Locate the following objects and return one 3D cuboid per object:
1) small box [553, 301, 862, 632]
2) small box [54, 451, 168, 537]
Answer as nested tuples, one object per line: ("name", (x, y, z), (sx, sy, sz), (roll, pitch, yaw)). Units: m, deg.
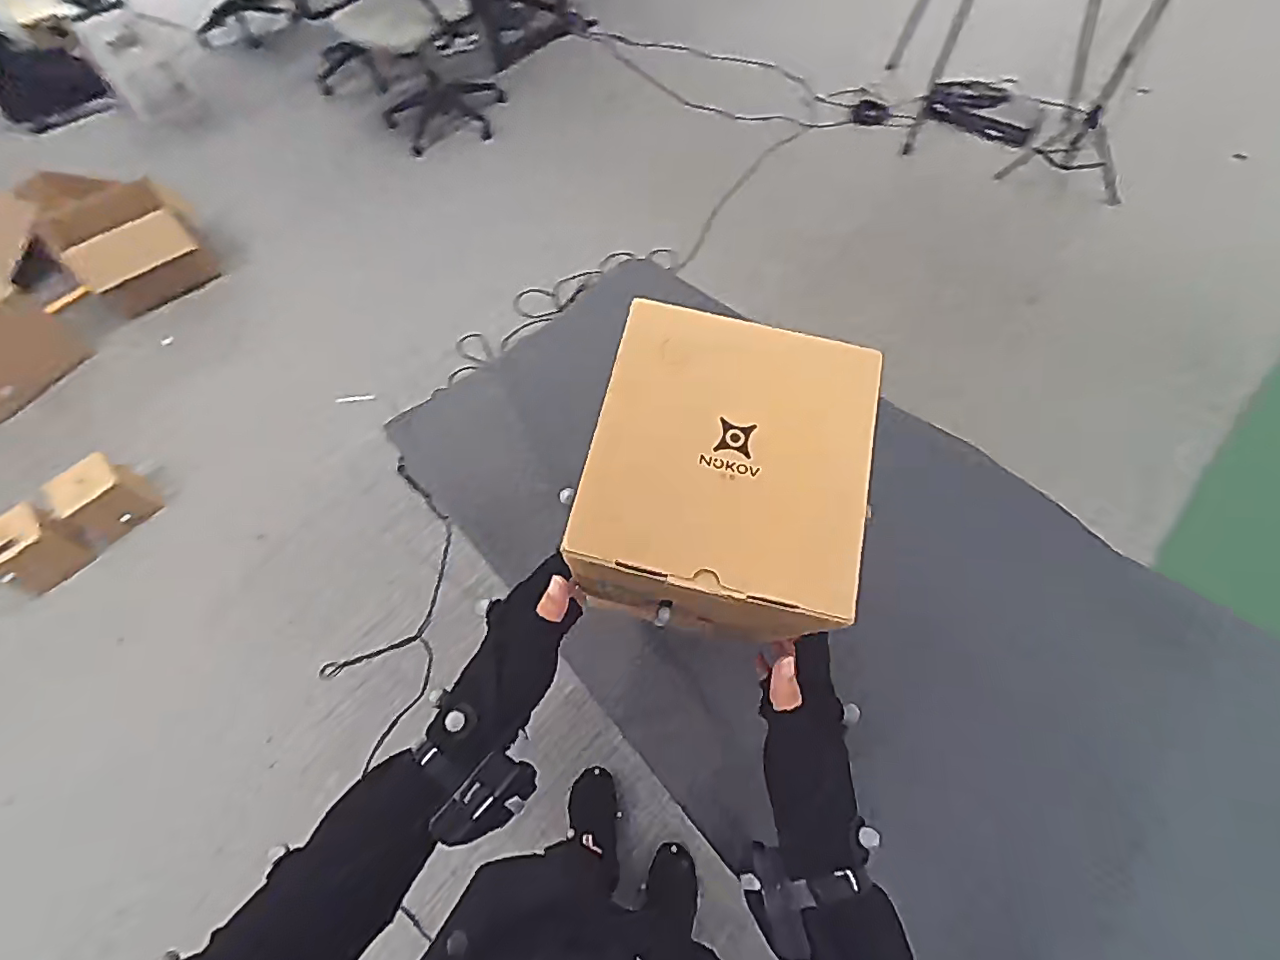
("small box", (0.043, 0.005, 0.401), (0.168, 0.176, 0.179), (13, 71, 2))
("small box", (-1.647, 0.050, 1.692), (0.179, 0.176, 0.168), (38, 70, 23))
